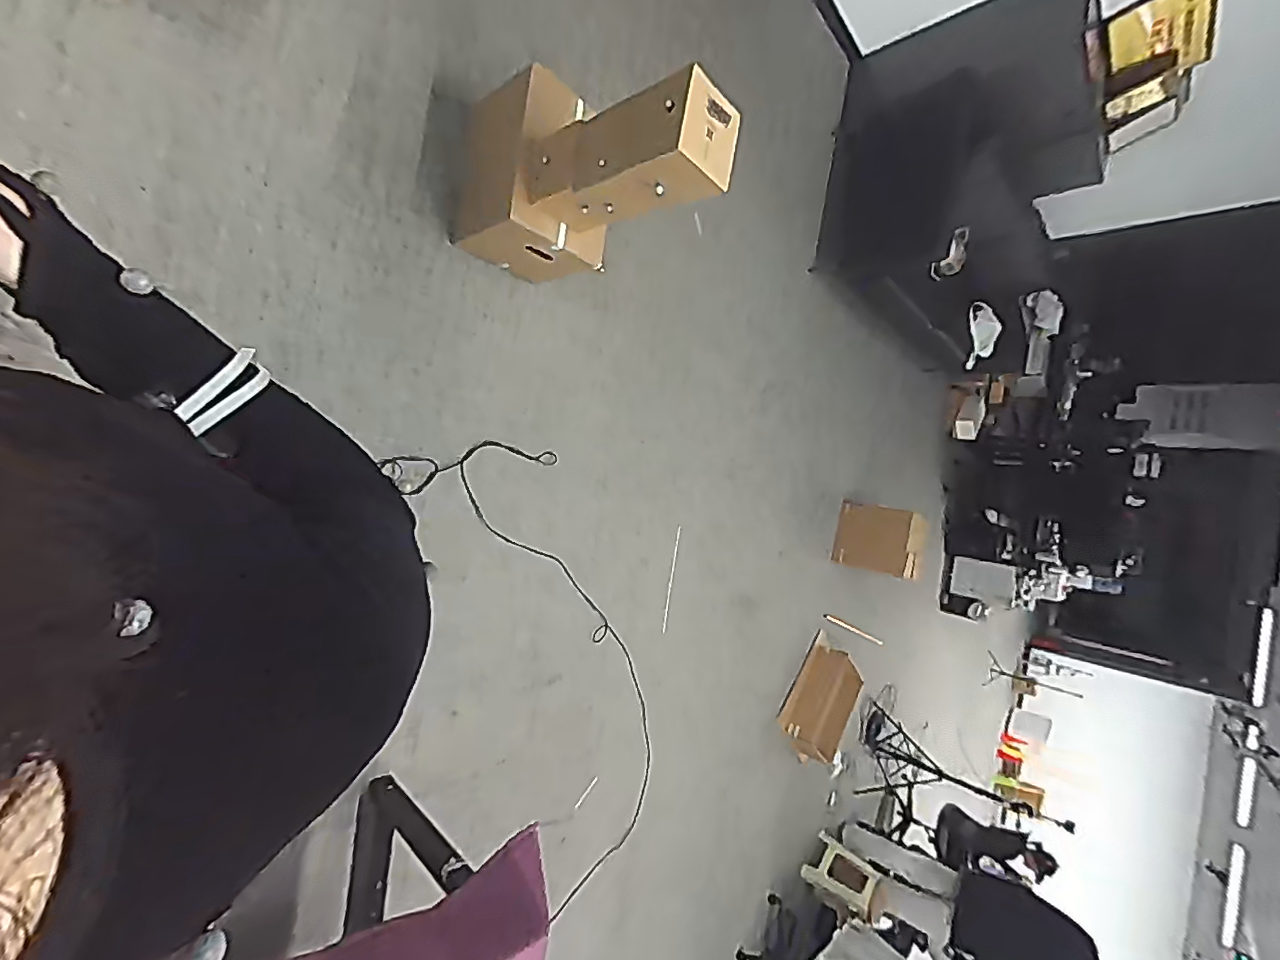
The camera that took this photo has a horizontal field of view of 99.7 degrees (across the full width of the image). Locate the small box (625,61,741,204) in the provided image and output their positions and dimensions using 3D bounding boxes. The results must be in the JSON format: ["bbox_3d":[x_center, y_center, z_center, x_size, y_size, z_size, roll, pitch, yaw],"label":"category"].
[{"bbox_3d":[0.088,-0.726,1.153,0.168,0.176,0.179,12,89,-45],"label":"small box"}]

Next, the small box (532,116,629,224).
[{"bbox_3d":[-0.148,-0.774,1.378,0.179,0.176,0.168,7,91,-45],"label":"small box"}]
